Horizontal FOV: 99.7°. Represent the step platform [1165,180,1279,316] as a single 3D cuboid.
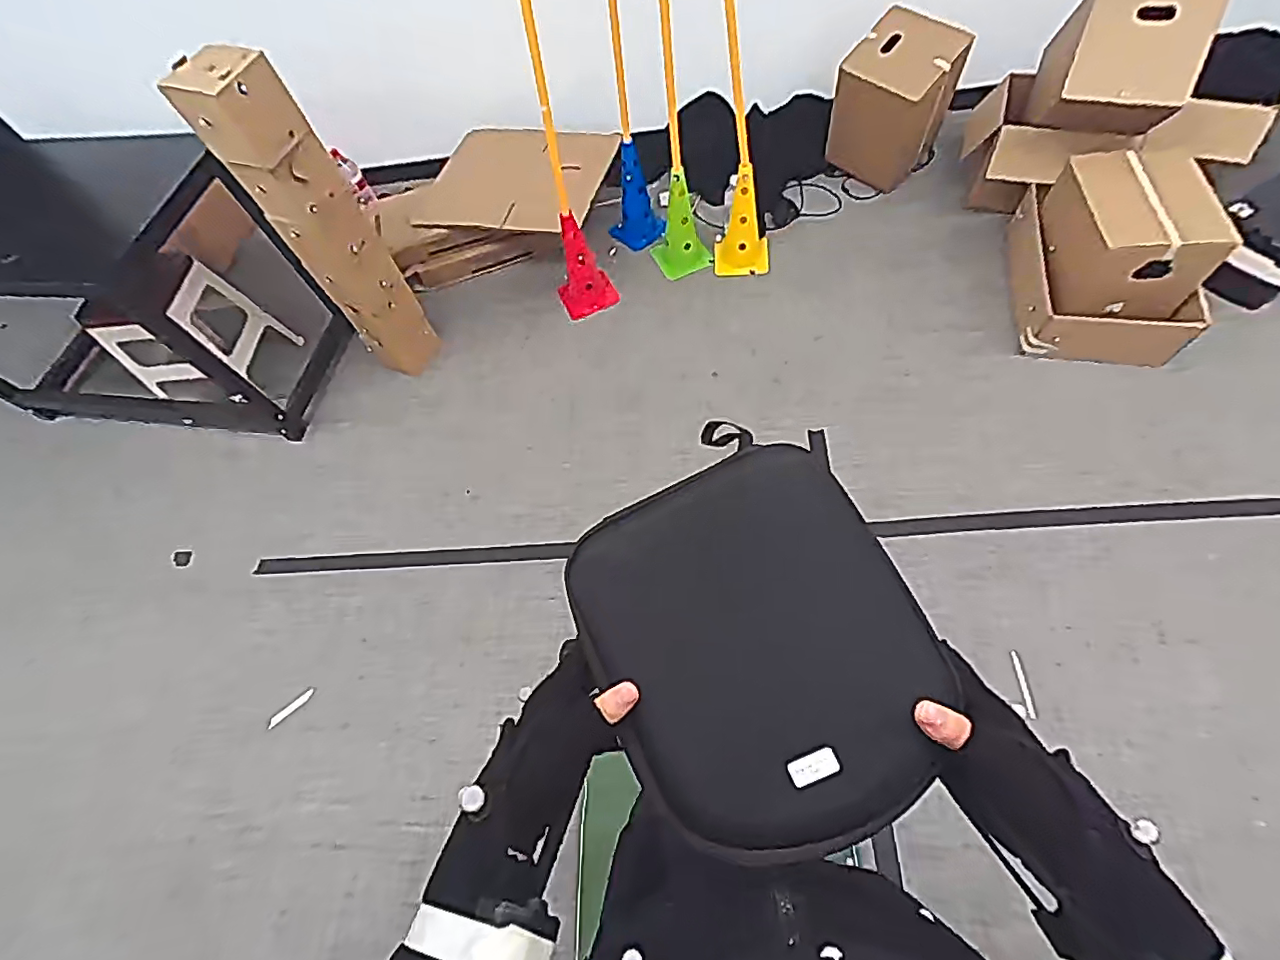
[{"bbox_3d":[2.092,-0.803,1.725,0.684,0.204,0.286,-30,63,-8],"label":"step platform"}]
